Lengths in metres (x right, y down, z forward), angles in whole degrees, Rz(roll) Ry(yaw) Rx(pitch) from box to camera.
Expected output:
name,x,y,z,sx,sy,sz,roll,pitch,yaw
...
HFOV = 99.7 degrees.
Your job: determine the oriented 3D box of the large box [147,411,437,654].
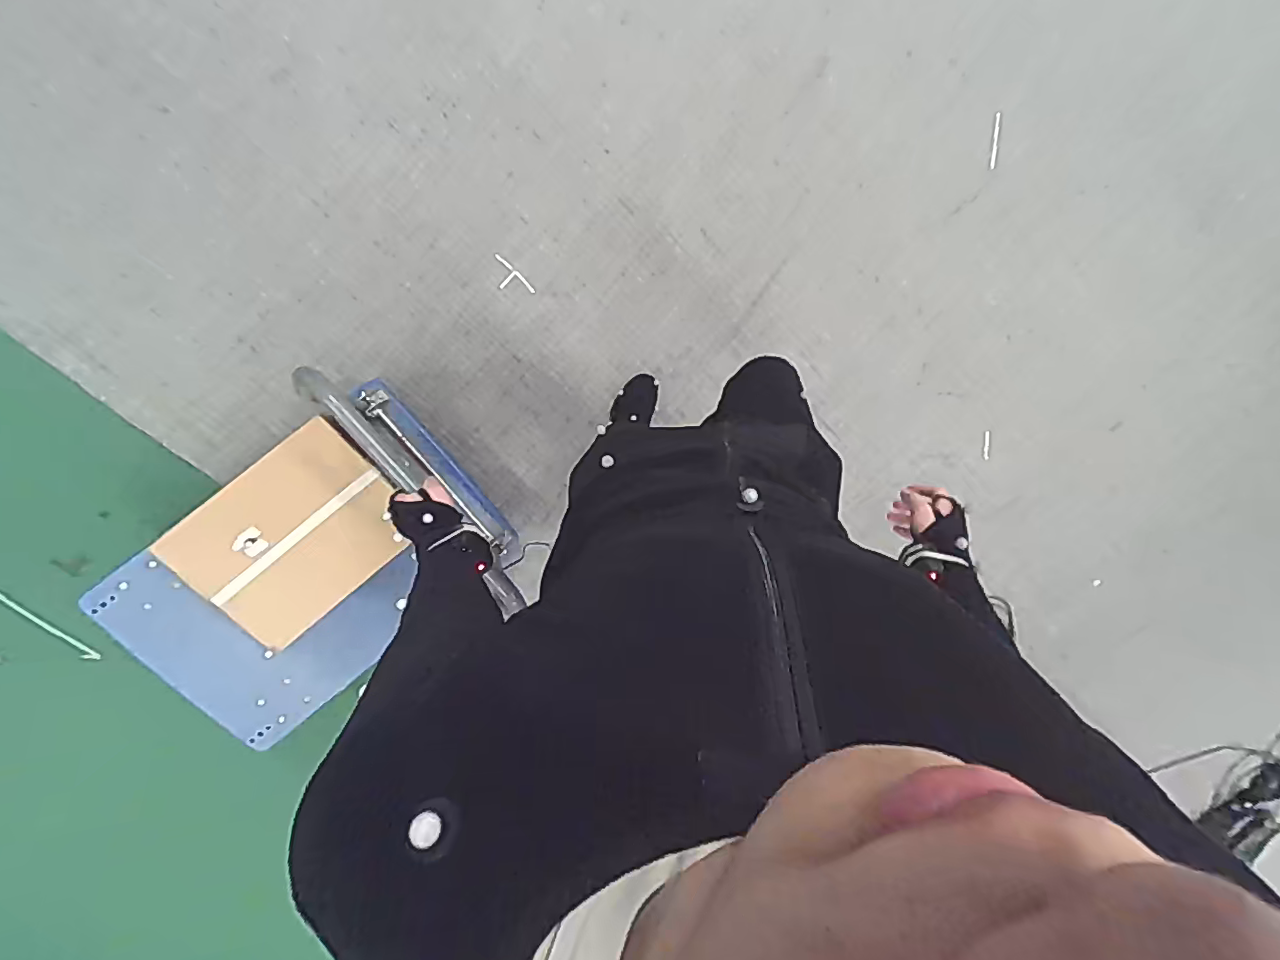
name,x,y,z,sx,sy,sz,roll,pitch,yaw
large box,-0.729,0.091,1.217,0.408,0.320,0.320,-42,105,-6
